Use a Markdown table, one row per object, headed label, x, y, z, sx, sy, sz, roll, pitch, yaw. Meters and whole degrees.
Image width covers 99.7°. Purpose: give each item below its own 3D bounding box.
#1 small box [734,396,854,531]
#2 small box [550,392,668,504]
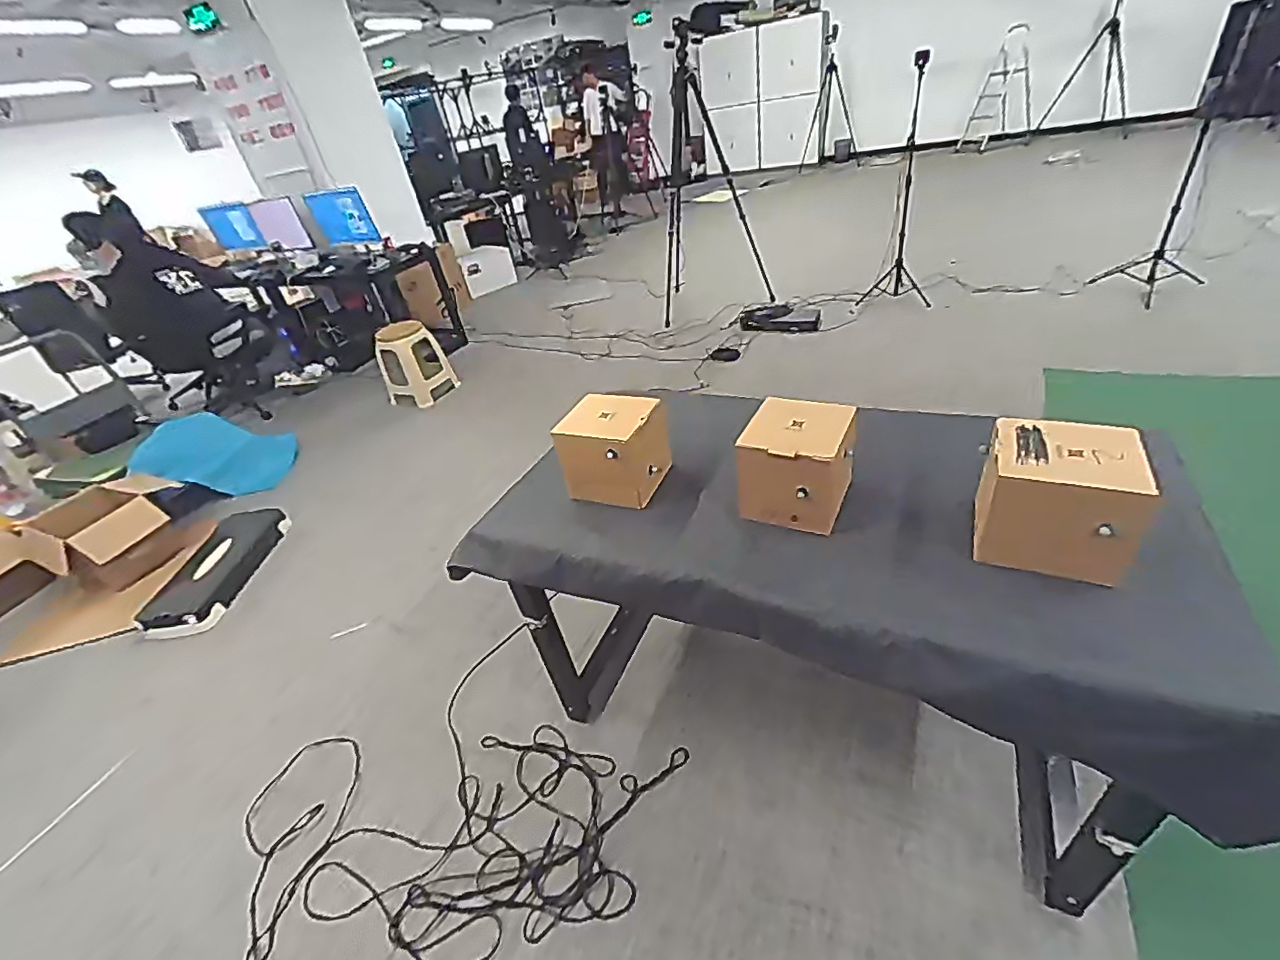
| label | x | y | z | sx | sy | sz | roll | pitch | yaw |
| --- | --- | --- | --- | --- | --- | --- | --- | --- | --- |
| small box | 0.282 | -0.032 | 0.986 | 0.168 | 0.176 | 0.179 | 12 | 41 | 27 |
| small box | -0.056 | -0.068 | 1.126 | 0.179 | 0.176 | 0.168 | 8 | 39 | 24 |
